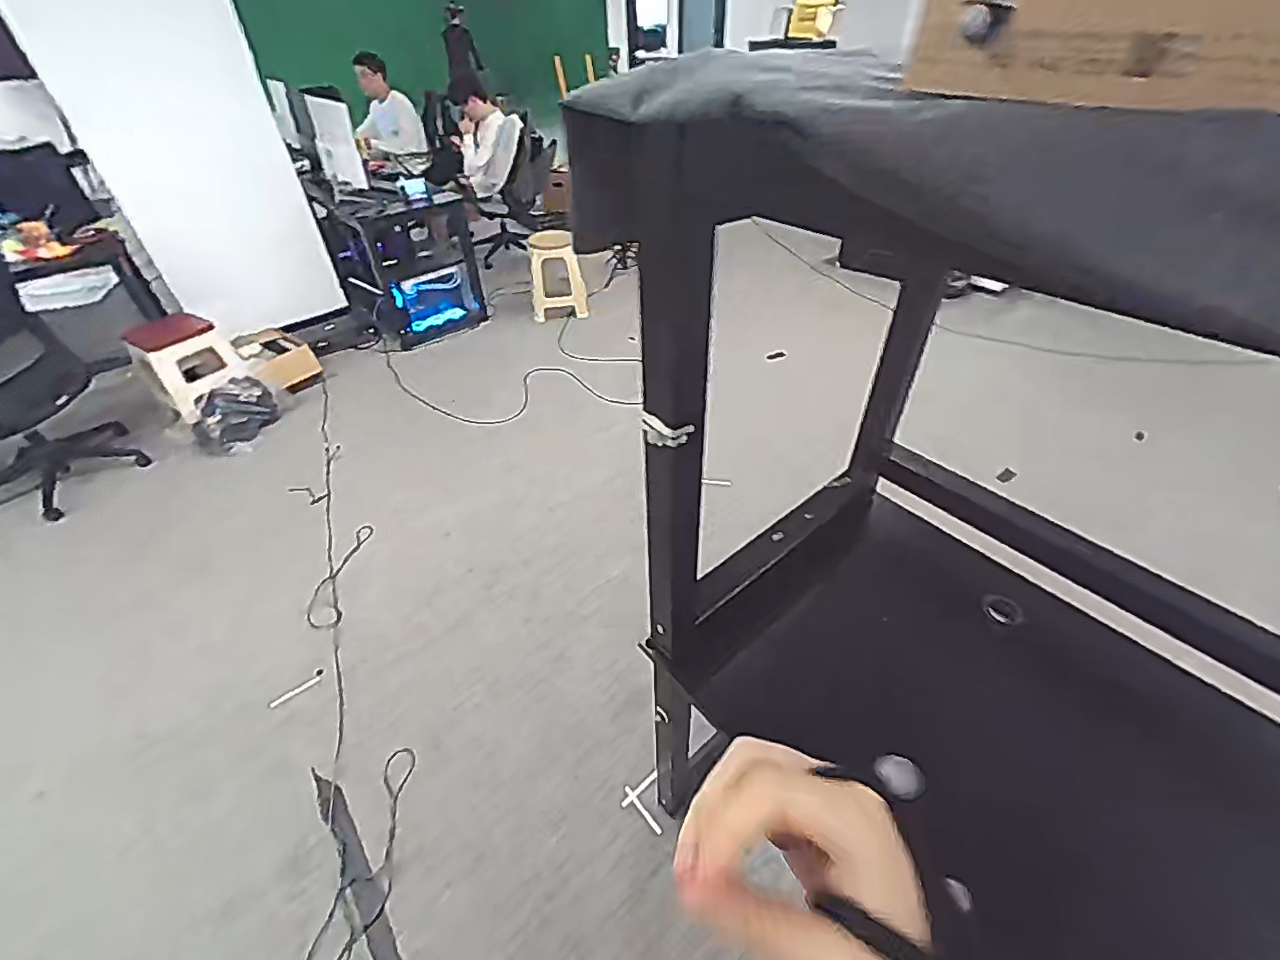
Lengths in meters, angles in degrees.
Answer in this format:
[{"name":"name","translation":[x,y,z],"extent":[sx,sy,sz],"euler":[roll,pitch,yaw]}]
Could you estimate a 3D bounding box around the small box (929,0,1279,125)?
[{"name":"small box","translation":[0.260,-0.268,0.238],"extent":[0.179,0.176,0.168],"euler":[-30,50,-31]}]
